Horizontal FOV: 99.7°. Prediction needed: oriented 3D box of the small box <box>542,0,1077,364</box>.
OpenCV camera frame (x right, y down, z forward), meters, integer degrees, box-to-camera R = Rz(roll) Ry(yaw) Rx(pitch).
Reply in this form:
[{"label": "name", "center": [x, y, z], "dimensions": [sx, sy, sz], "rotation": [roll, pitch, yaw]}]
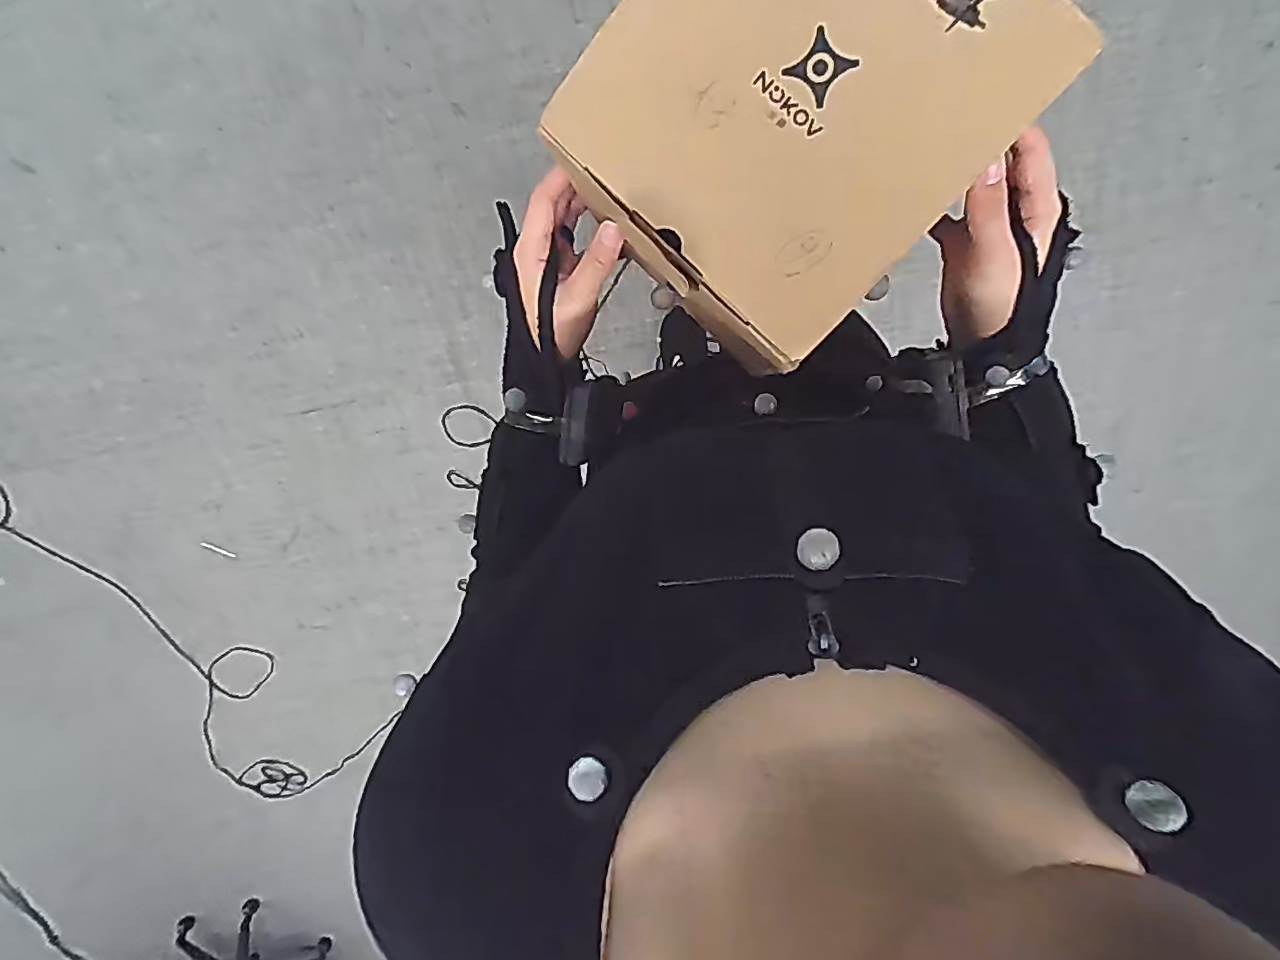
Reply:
[{"label": "small box", "center": [0.078, -0.184, 0.318], "dimensions": [0.168, 0.176, 0.179], "rotation": [43, 102, -2]}]
